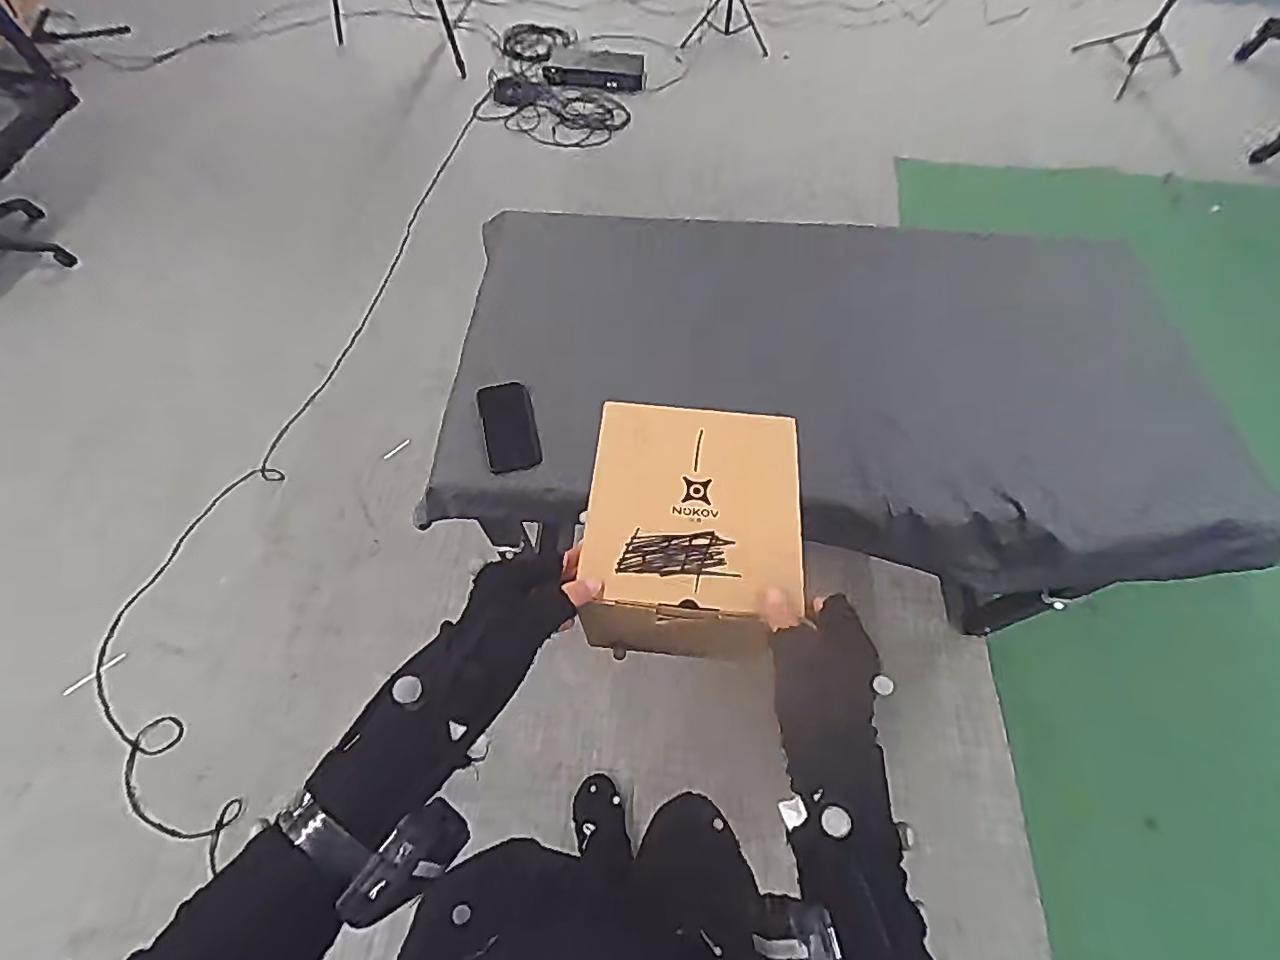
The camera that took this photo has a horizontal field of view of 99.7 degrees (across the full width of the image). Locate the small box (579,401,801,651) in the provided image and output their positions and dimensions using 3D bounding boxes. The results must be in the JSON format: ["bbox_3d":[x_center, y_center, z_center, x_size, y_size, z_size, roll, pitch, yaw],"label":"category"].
[{"bbox_3d":[0.044,0.052,0.501,0.168,0.176,0.179,5,61,2],"label":"small box"}]
